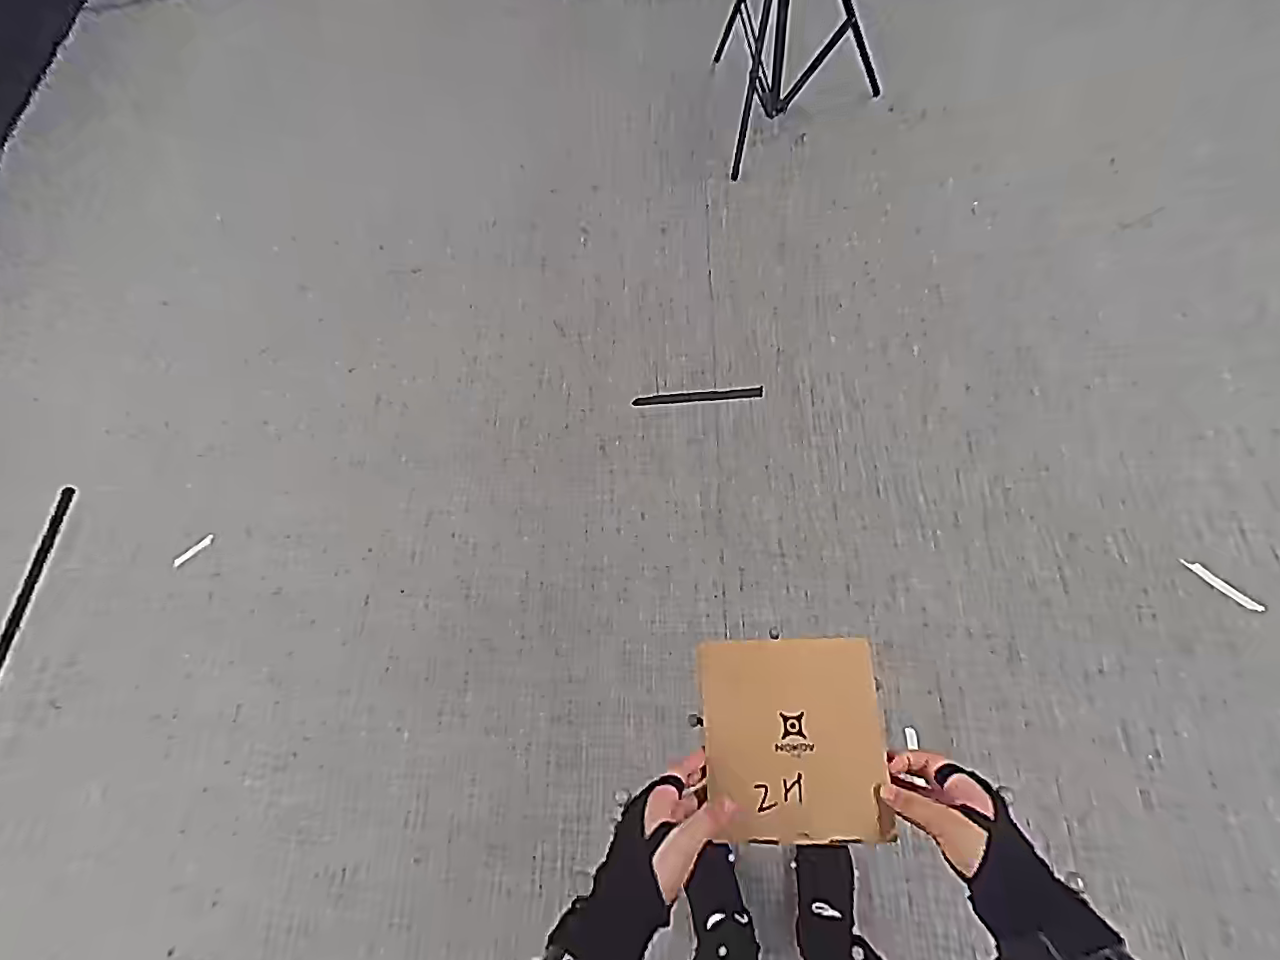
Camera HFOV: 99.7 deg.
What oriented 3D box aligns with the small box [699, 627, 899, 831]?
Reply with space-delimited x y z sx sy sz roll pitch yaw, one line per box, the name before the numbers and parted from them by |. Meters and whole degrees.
small box | 0.152 0.257 0.584 0.168 0.176 0.179 -3 71 4
